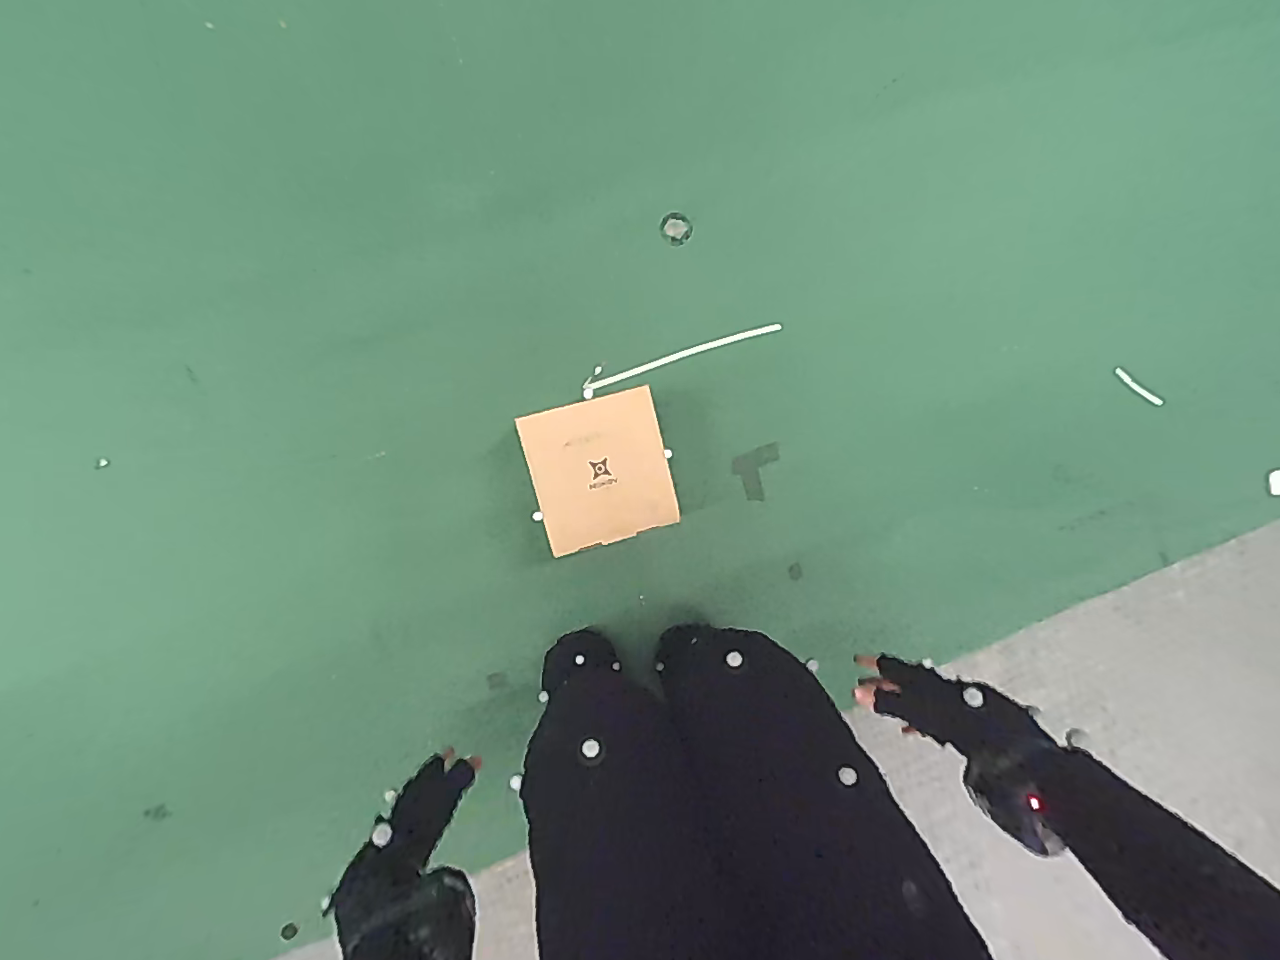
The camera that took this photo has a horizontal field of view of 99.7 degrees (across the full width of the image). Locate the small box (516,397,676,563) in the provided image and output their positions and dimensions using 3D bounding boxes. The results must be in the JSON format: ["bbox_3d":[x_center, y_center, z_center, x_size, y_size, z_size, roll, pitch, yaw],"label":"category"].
[{"bbox_3d":[-0.062,-0.009,0.739,0.168,0.176,0.179,-15,98,-8],"label":"small box"}]
